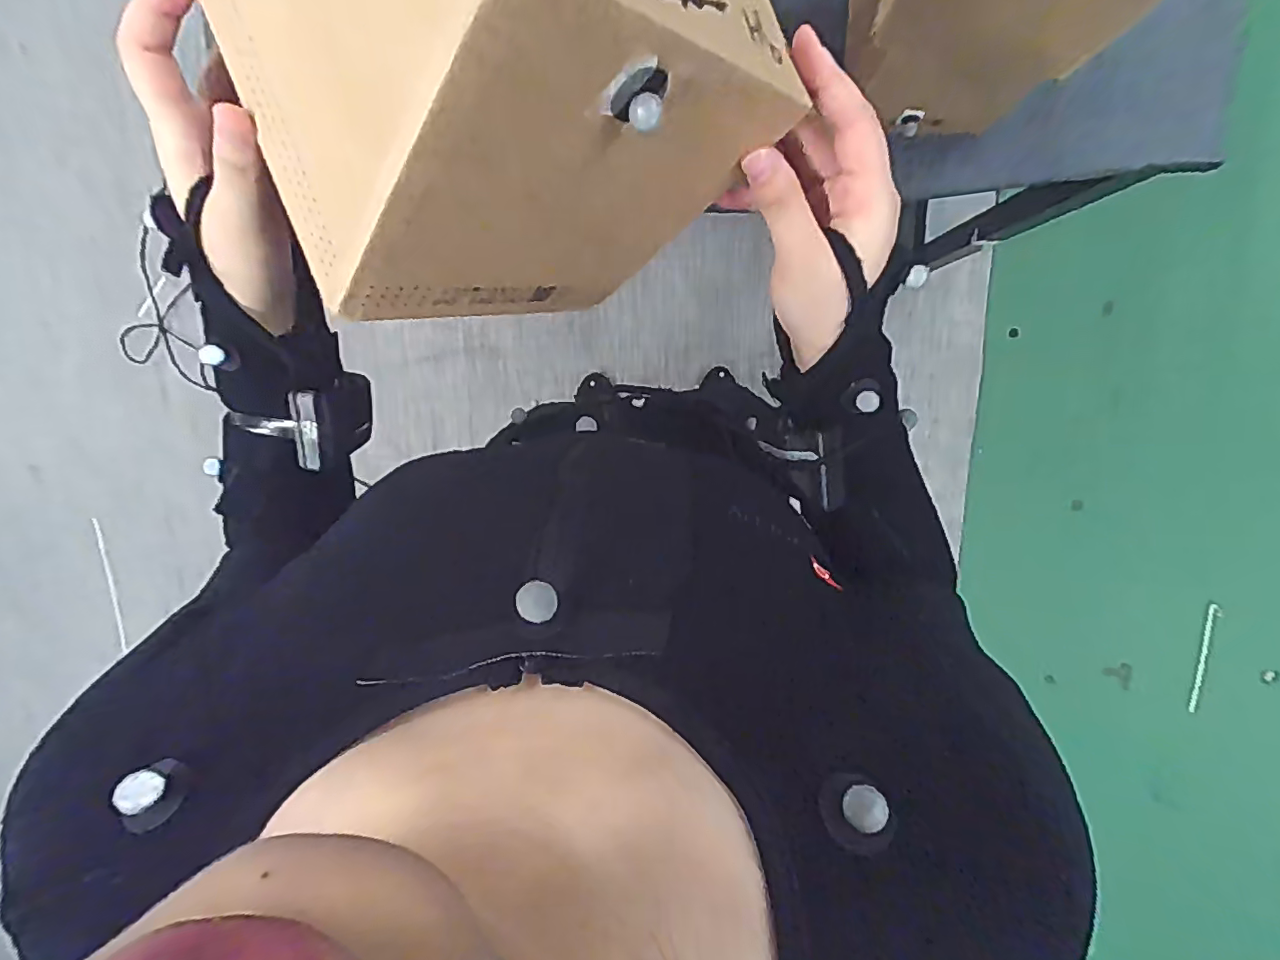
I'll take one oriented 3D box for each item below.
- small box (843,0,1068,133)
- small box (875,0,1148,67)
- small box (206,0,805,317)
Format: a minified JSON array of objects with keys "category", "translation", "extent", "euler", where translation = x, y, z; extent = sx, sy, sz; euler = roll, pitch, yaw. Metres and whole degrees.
[{"category":"small box","translation":[0.313,-0.480,0.540],"extent":[0.168,0.176,0.179],"euler":[2,101,5]},{"category":"small box","translation":[0.300,-0.437,0.384],"extent":[0.179,0.176,0.168],"euler":[13,101,3]},{"category":"small box","translation":[-0.066,-0.195,0.242],"extent":[0.176,0.168,0.179],"euler":[-27,87,45]}]
